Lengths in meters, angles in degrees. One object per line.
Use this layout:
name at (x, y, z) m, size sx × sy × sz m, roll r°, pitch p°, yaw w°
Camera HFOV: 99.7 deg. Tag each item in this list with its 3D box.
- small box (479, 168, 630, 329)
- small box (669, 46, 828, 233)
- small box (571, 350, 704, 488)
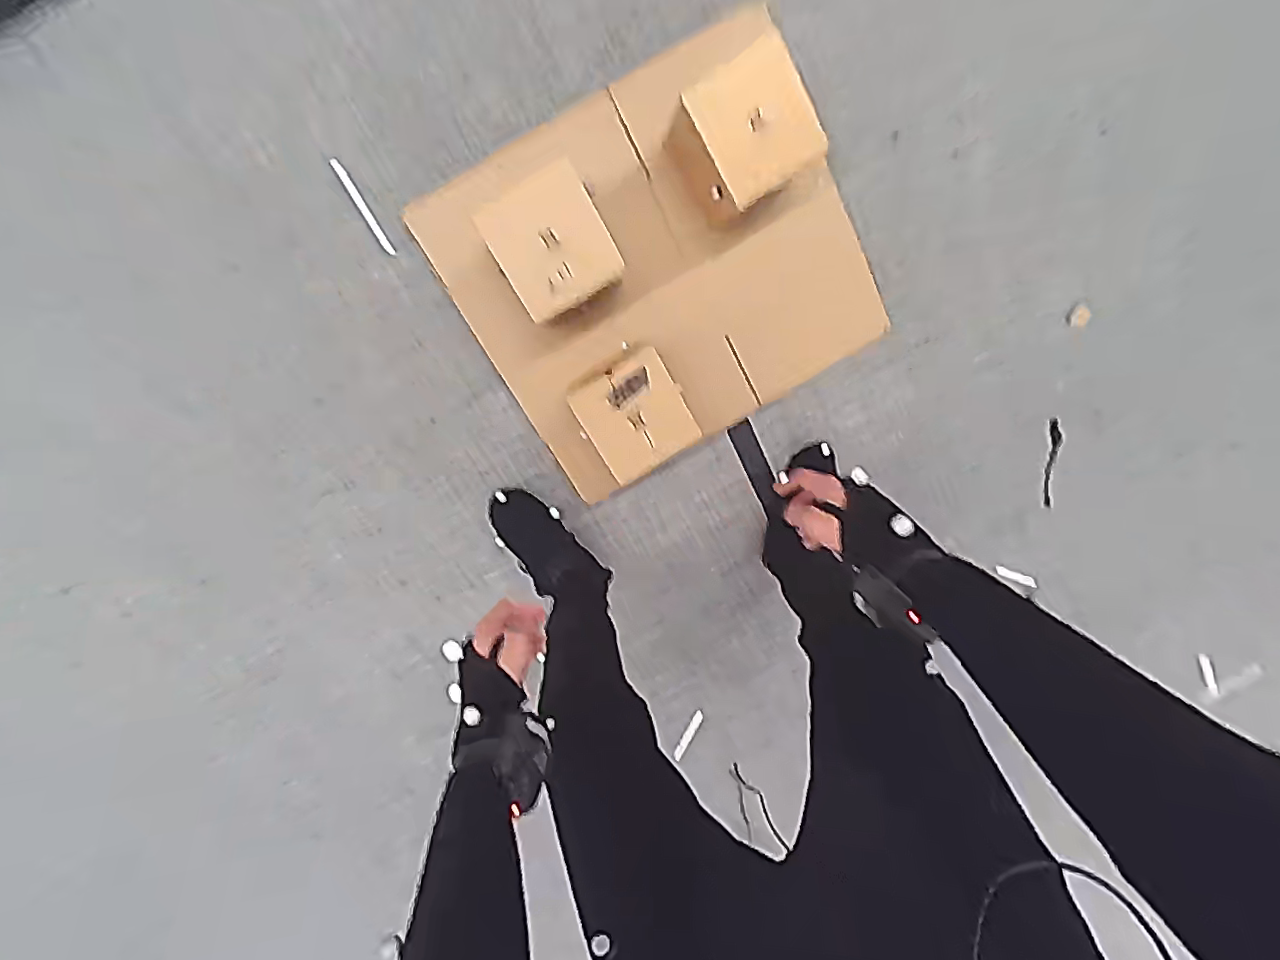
small box at (-0.134, -0.361, 0.882) m, size 0.168 × 0.176 × 0.179 m, roll -30°, pitch 107°, yaw 3°
small box at (0.164, -0.532, 0.876) m, size 0.168 × 0.176 × 0.179 m, roll -34°, pitch 107°, yaw 3°
small box at (-0.012, -0.117, 0.964) m, size 0.168 × 0.176 × 0.179 m, roll -31°, pitch 108°, yaw 3°
